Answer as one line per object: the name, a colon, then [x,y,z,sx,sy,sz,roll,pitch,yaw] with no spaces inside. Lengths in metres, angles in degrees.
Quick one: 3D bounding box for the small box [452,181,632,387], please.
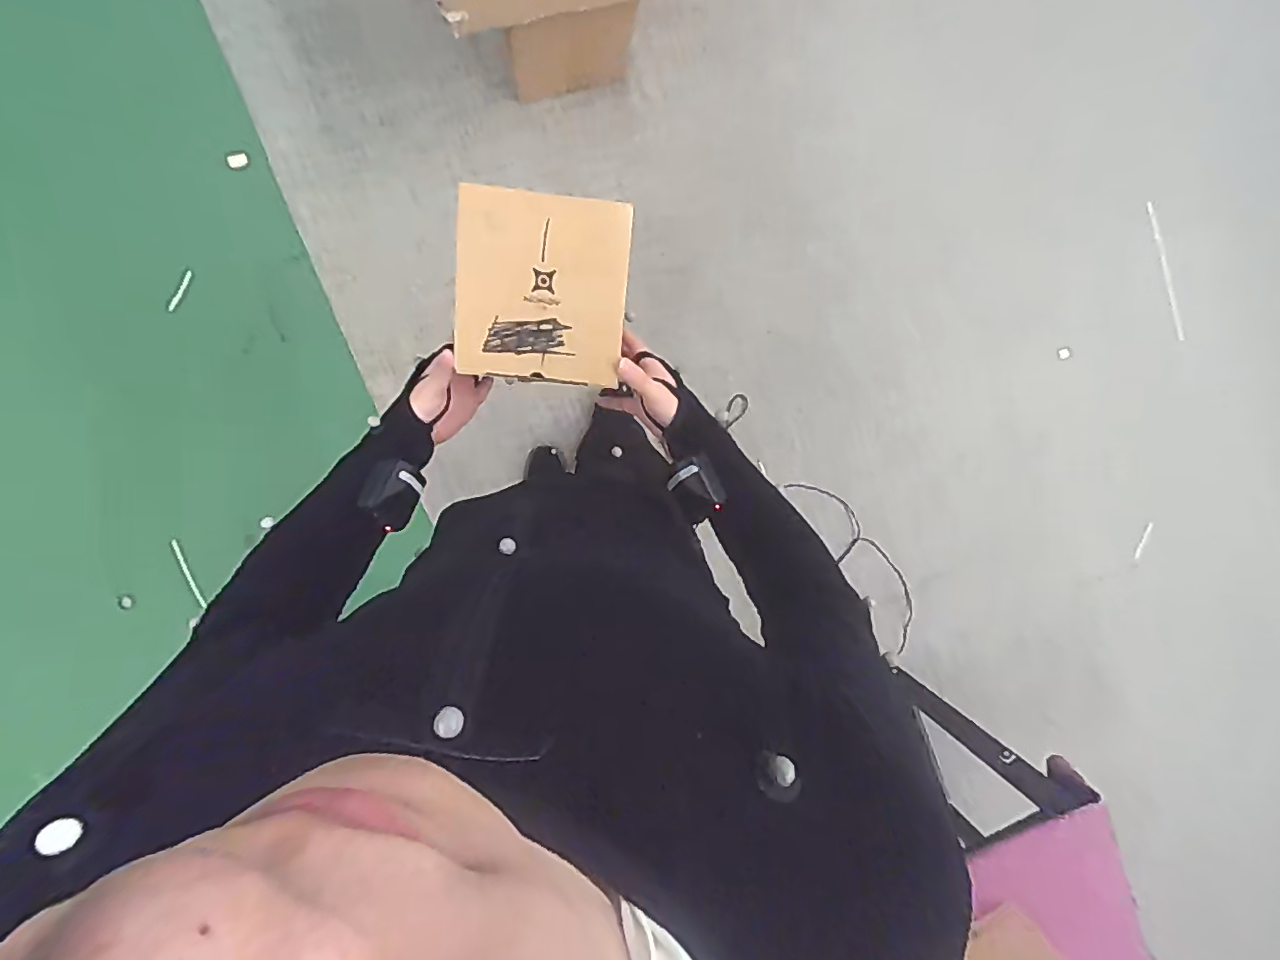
small box: [-0.102,-0.204,0.605,0.168,0.176,0.179,6,101,-5]
